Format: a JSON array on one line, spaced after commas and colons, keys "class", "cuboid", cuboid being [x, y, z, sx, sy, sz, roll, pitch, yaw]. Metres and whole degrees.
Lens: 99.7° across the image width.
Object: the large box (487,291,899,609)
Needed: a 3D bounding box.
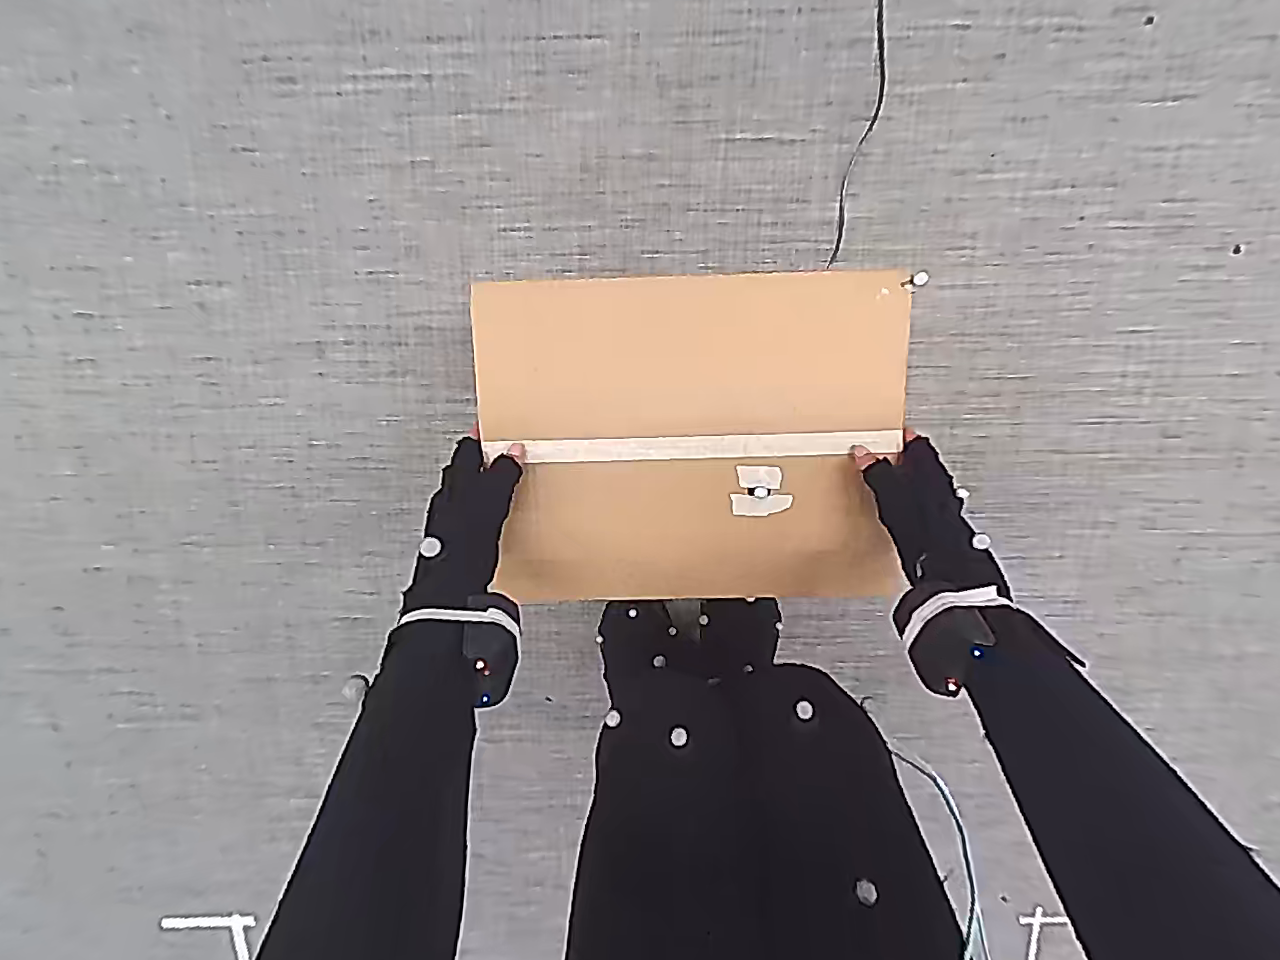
[{"class": "large box", "cuboid": [0.055, -0.047, 0.689, 0.408, 0.320, 0.320, -2, 101, 1]}]
